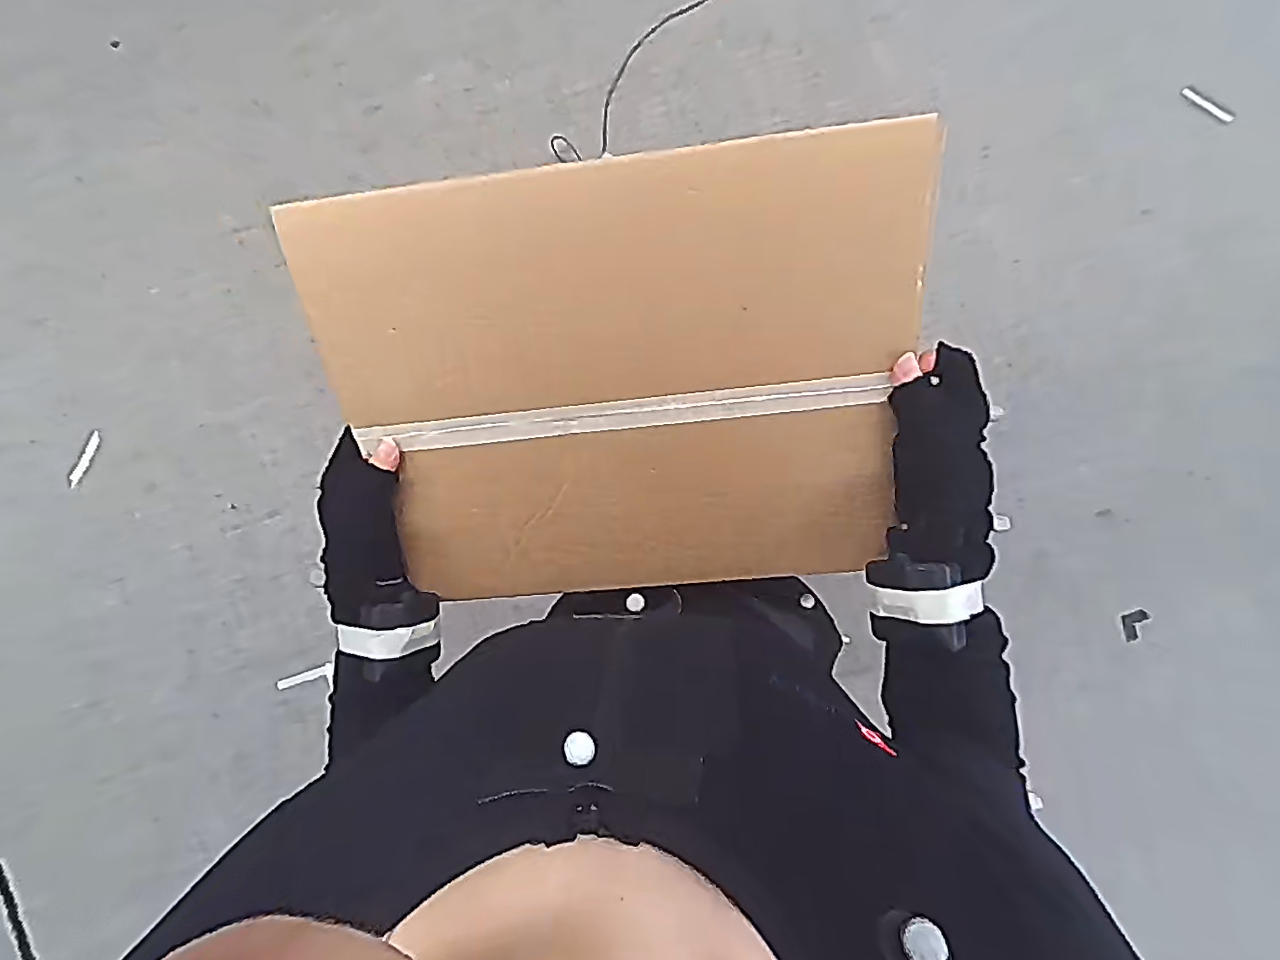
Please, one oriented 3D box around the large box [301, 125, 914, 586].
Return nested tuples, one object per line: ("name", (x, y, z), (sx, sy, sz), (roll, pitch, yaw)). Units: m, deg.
("large box", (-0.005, -0.126, 0.538), (0.408, 0.320, 0.320), (-5, 117, 5))
